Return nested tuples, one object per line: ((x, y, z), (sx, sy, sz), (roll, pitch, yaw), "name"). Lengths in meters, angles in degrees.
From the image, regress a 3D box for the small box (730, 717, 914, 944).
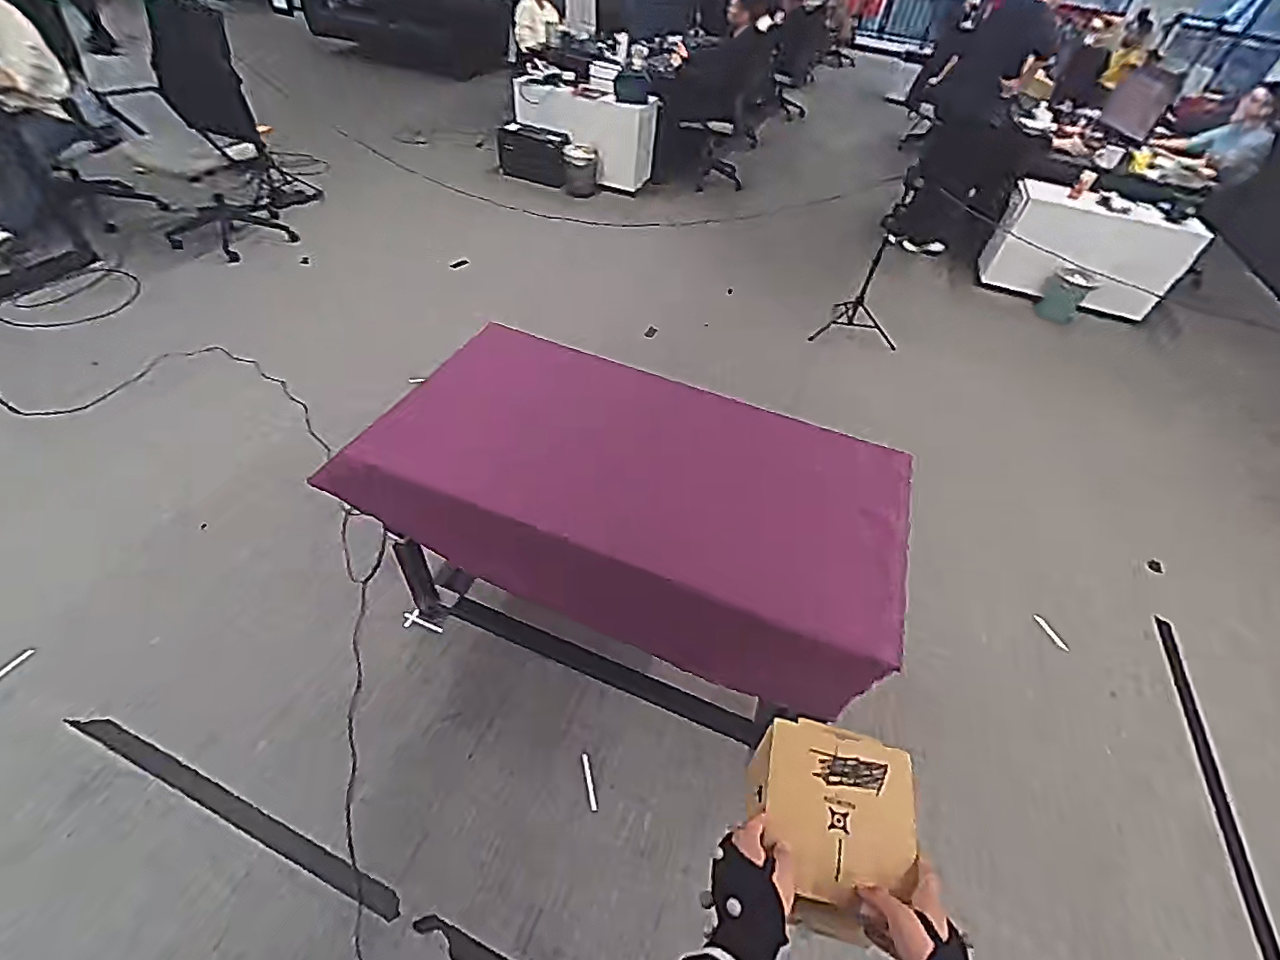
((0.211, 0.427, 0.661), (0.168, 0.176, 0.179), (11, 46, 9), "small box")
